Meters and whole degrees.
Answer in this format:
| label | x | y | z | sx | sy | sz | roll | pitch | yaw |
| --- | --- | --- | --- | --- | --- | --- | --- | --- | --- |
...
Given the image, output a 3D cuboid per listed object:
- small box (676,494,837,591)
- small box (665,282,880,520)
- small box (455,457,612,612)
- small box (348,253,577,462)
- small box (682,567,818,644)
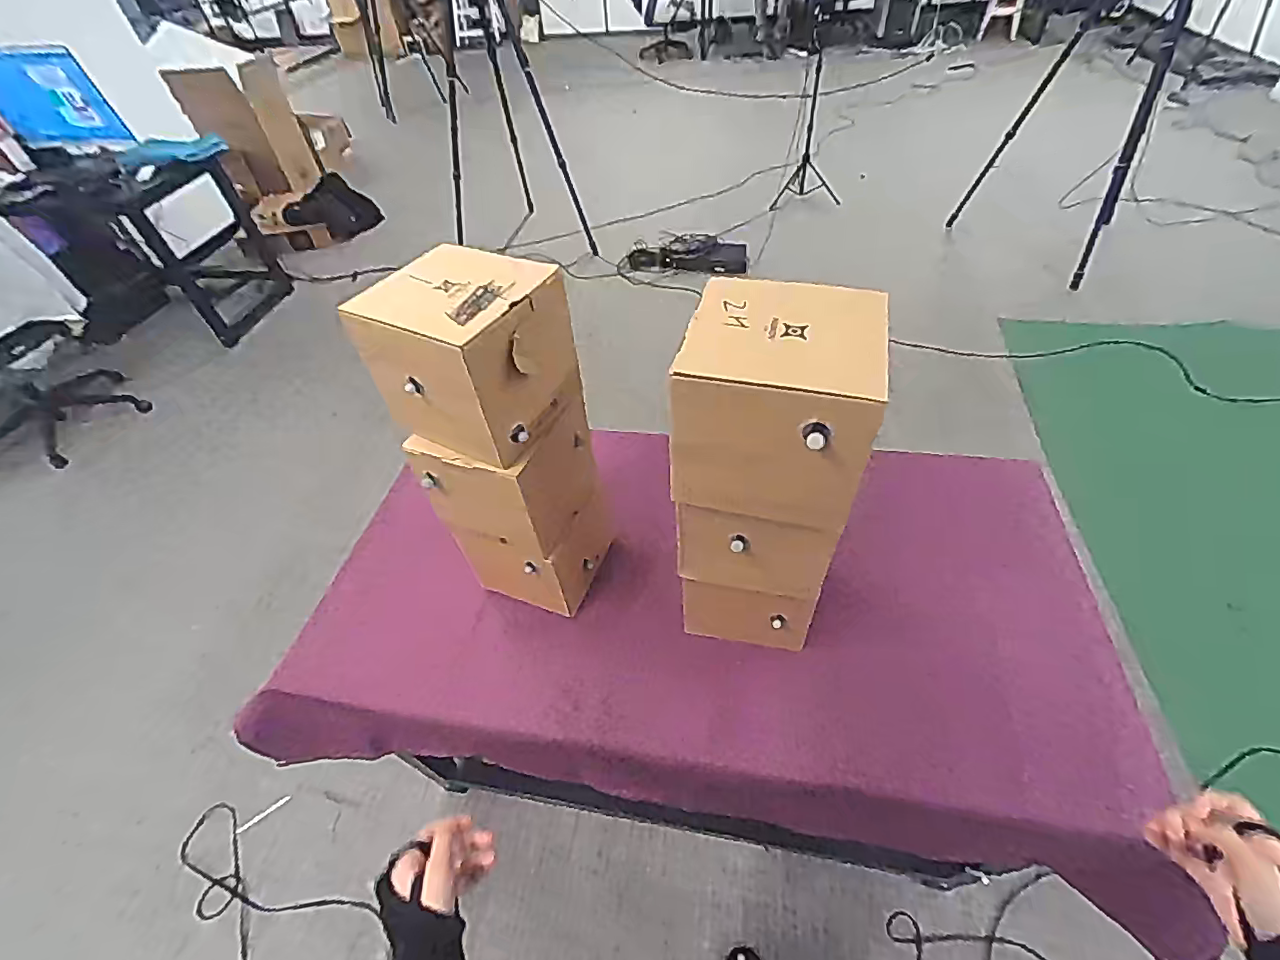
| label | x | y | z | sx | sy | sz | roll | pitch | yaw |
| --- | --- | --- | --- | --- | --- | --- | --- | --- | --- |
| small box | 0.147 | 0.022 | 0.685 | 0.179 | 0.176 | 0.168 | 7 | 49 | 13 |
| small box | 0.132 | -0.079 | 0.555 | 0.179 | 0.176 | 0.168 | 10 | 48 | 14 |
| small box | -0.161 | 0.090 | 0.879 | 0.179 | 0.176 | 0.168 | 13 | 50 | 17 |
| small box | -0.195 | -0.145 | 0.650 | 0.179 | 0.176 | 0.168 | 19 | 51 | 22 |
| small box | 0.163 | 0.127 | 0.810 | 0.179 | 0.176 | 0.168 | 6 | 48 | 12 |
